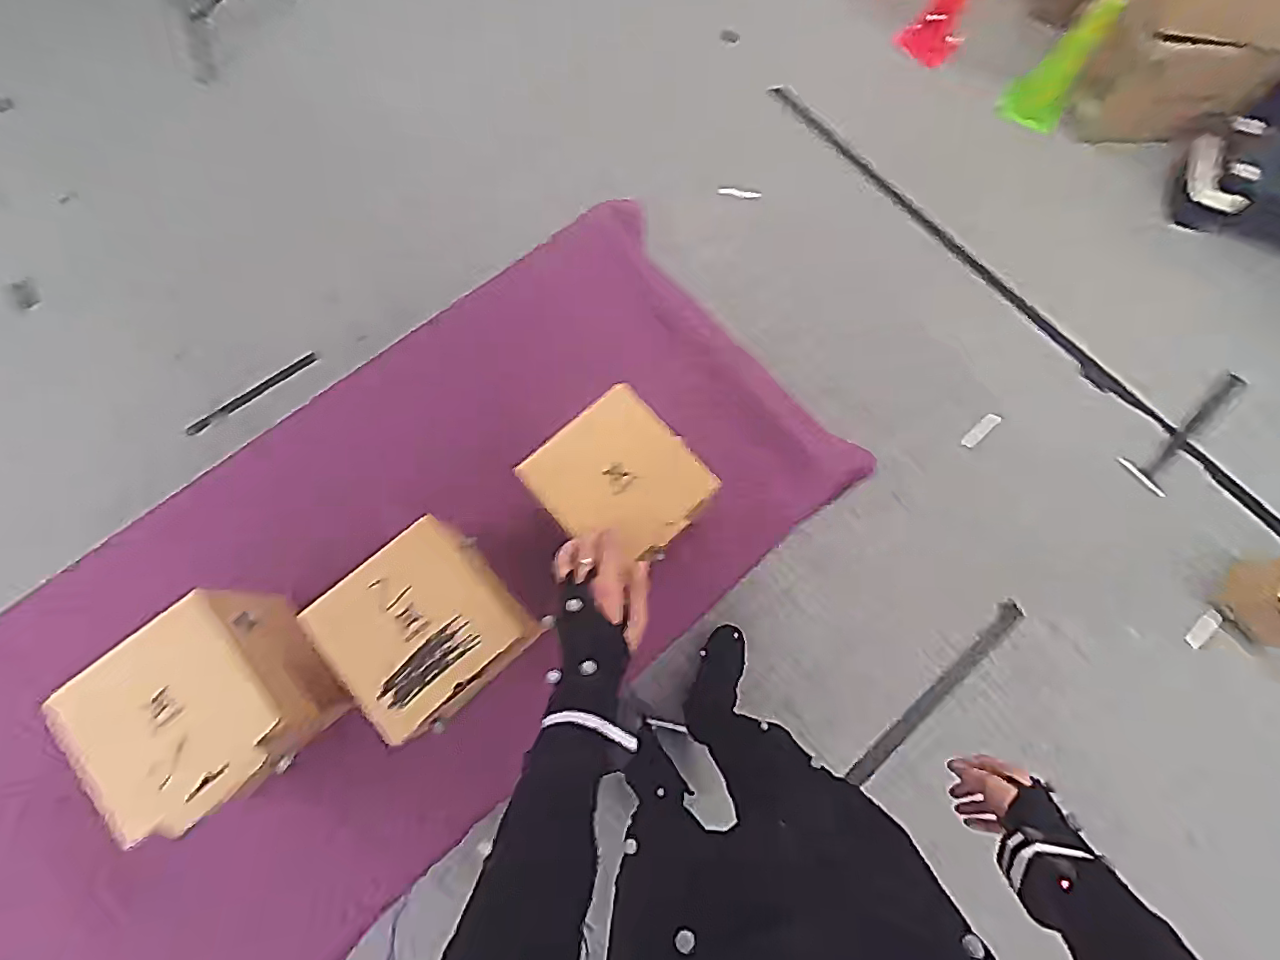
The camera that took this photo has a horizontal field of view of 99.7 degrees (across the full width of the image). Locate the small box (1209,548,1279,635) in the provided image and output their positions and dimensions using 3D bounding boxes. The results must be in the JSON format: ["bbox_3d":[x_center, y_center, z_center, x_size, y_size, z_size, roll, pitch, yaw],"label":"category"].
[{"bbox_3d":[1.728,0.306,1.470,0.179,0.176,0.168,-42,81,-13],"label":"small box"}]

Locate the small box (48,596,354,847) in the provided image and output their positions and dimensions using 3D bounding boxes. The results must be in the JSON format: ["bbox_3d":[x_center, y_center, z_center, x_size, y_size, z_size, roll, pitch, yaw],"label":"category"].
[{"bbox_3d":[-0.473,0.256,0.614,0.168,0.176,0.179,-41,81,-12],"label":"small box"}]

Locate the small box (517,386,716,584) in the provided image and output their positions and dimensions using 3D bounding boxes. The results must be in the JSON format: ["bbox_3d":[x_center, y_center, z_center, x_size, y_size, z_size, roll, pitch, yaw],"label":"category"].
[{"bbox_3d":[-0.032,0.018,0.702,0.168,0.176,0.179,-42,81,-12],"label":"small box"}]
